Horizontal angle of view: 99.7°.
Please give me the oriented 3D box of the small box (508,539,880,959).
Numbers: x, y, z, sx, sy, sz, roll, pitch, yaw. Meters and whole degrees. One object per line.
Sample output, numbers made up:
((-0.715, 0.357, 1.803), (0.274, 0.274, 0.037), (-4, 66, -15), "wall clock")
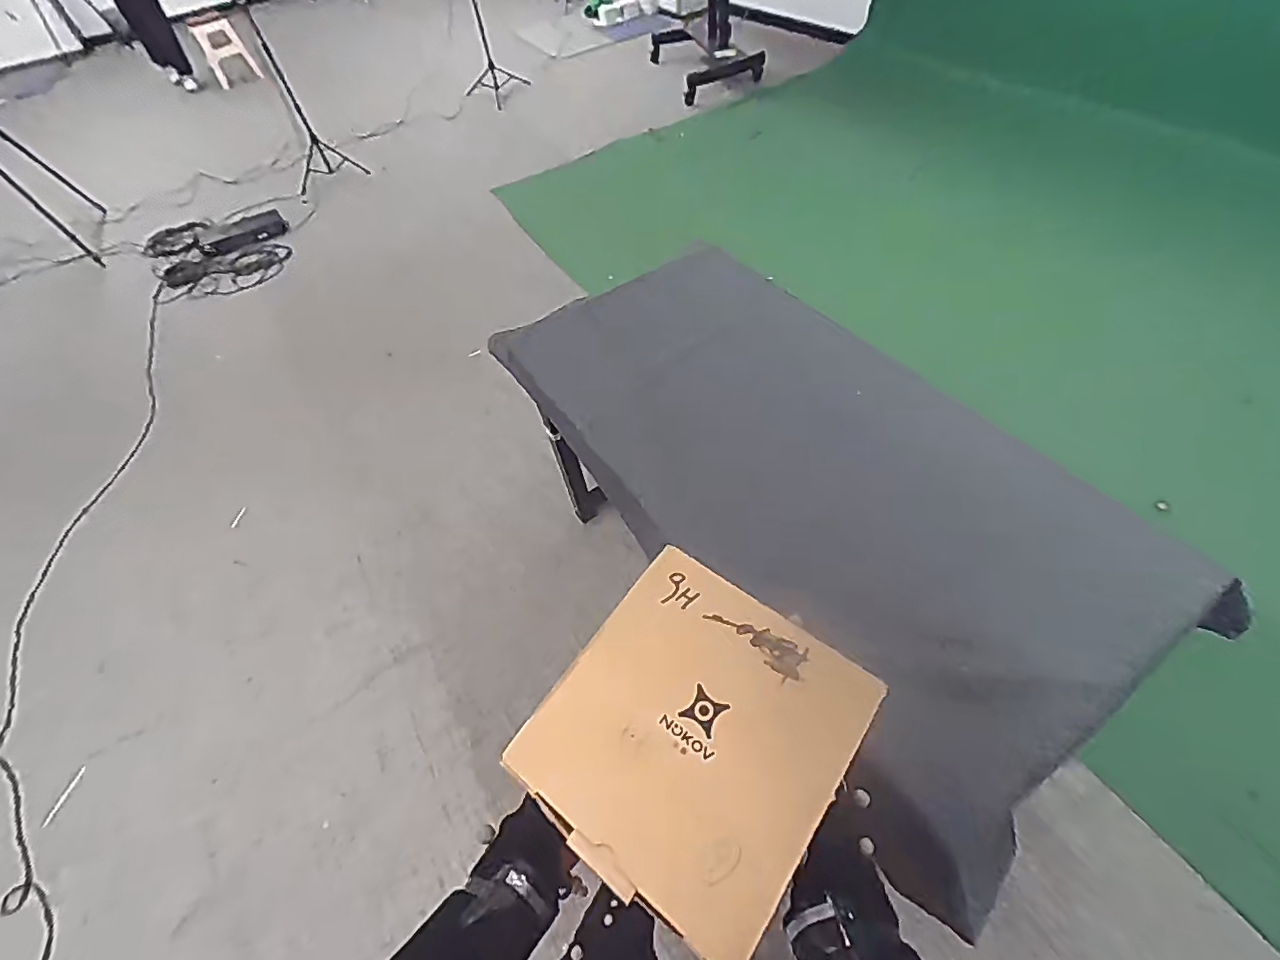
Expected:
((0.041, 0.183, 0.395), (0.168, 0.176, 0.179), (32, 66, 22), "small box")
